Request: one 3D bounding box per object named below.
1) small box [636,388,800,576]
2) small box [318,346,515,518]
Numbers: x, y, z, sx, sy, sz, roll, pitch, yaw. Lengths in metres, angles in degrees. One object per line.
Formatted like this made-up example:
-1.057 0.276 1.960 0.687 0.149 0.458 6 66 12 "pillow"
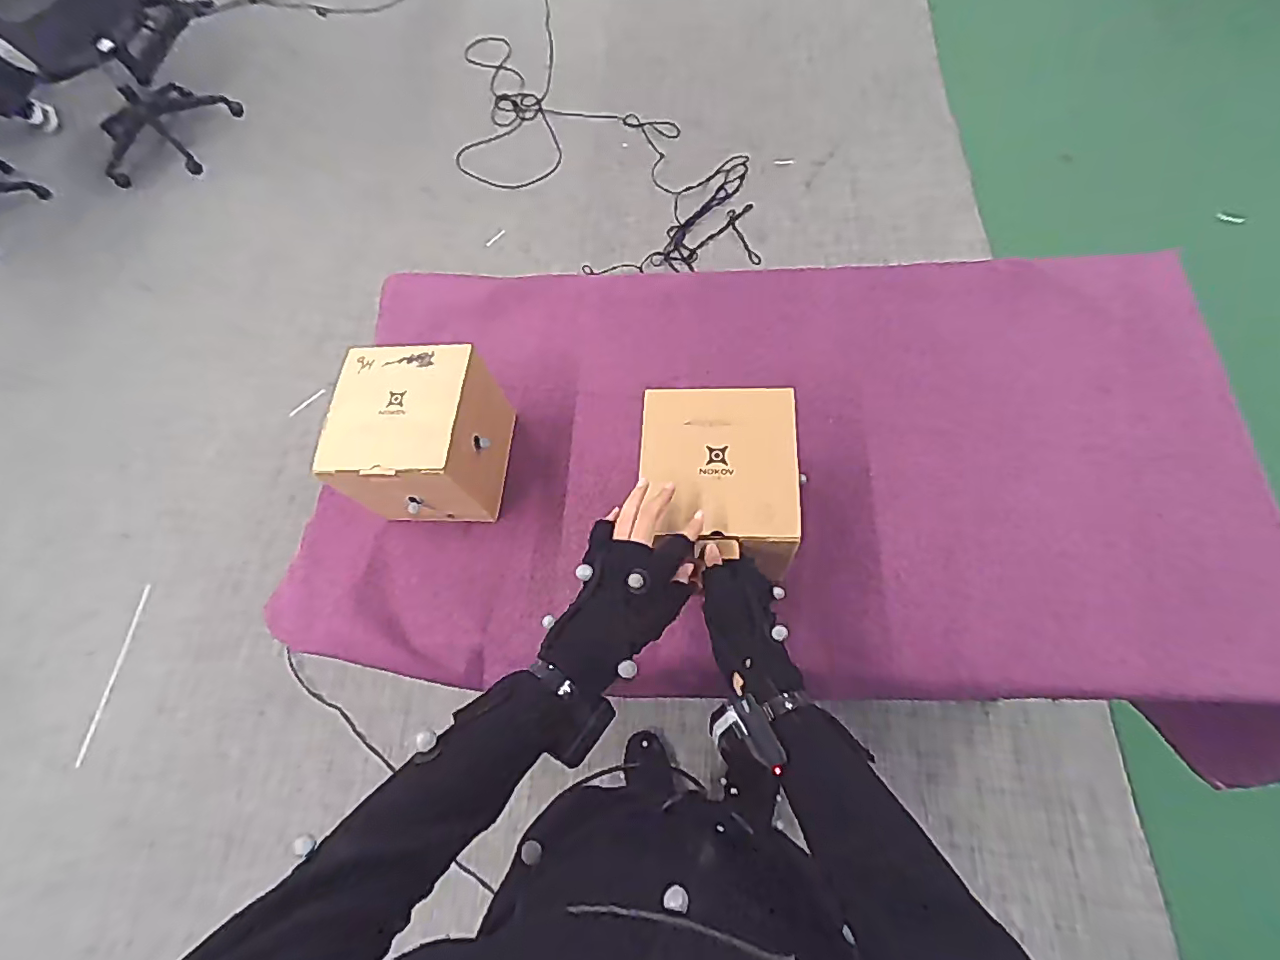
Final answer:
0.093 0.010 0.638 0.168 0.176 0.179 1 66 8 "small box"
-0.277 -0.055 0.717 0.168 0.176 0.179 0 67 7 "small box"
